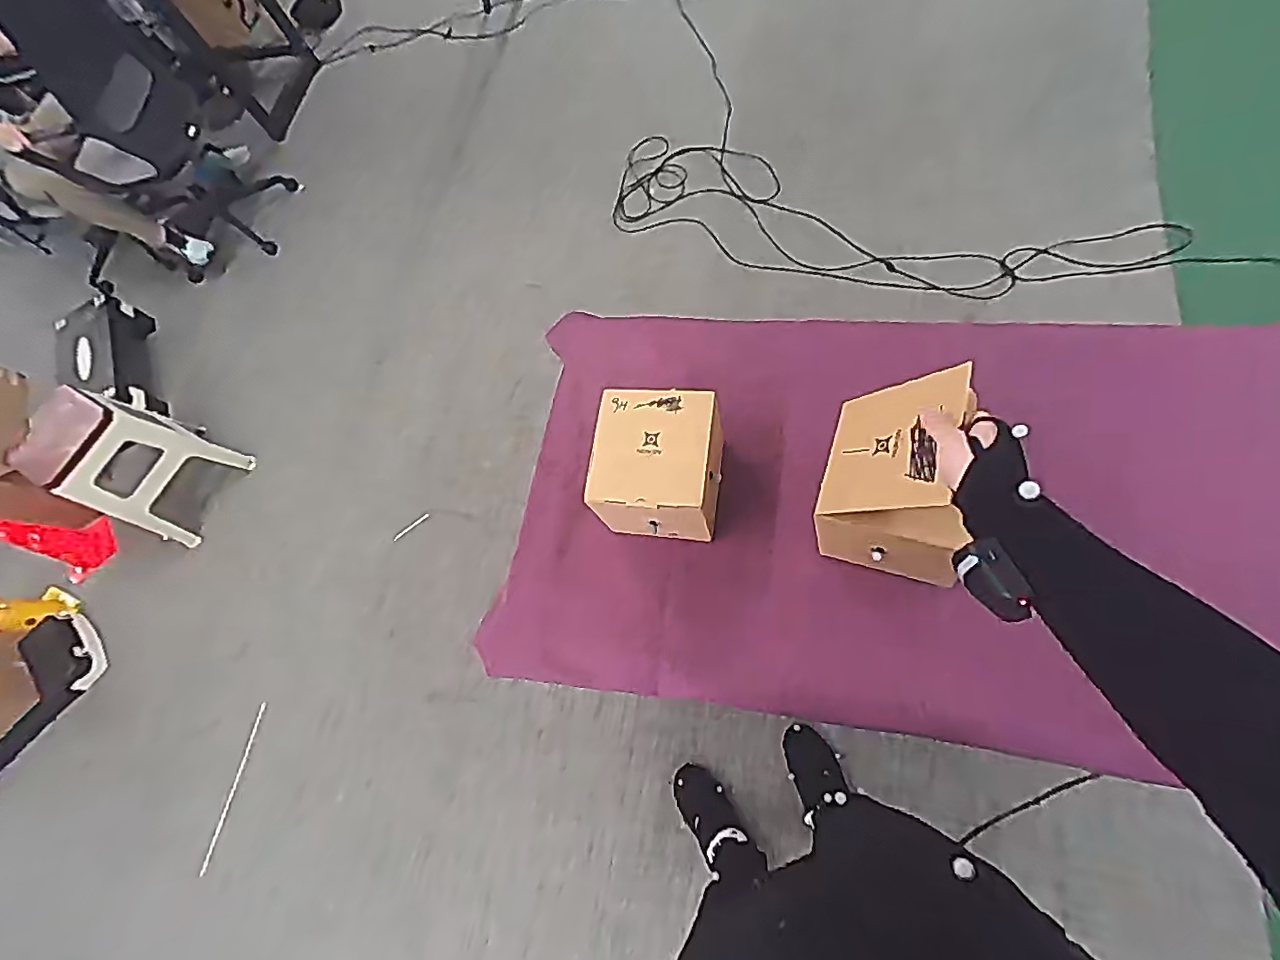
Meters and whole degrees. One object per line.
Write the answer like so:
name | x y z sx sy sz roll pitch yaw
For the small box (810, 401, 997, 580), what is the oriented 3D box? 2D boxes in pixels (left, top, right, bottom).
small box | 0.340 0.020 0.712 0.179 0.176 0.168 13 71 28

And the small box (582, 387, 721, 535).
small box | 0.029 -0.022 0.815 0.168 0.176 0.179 5 71 14
